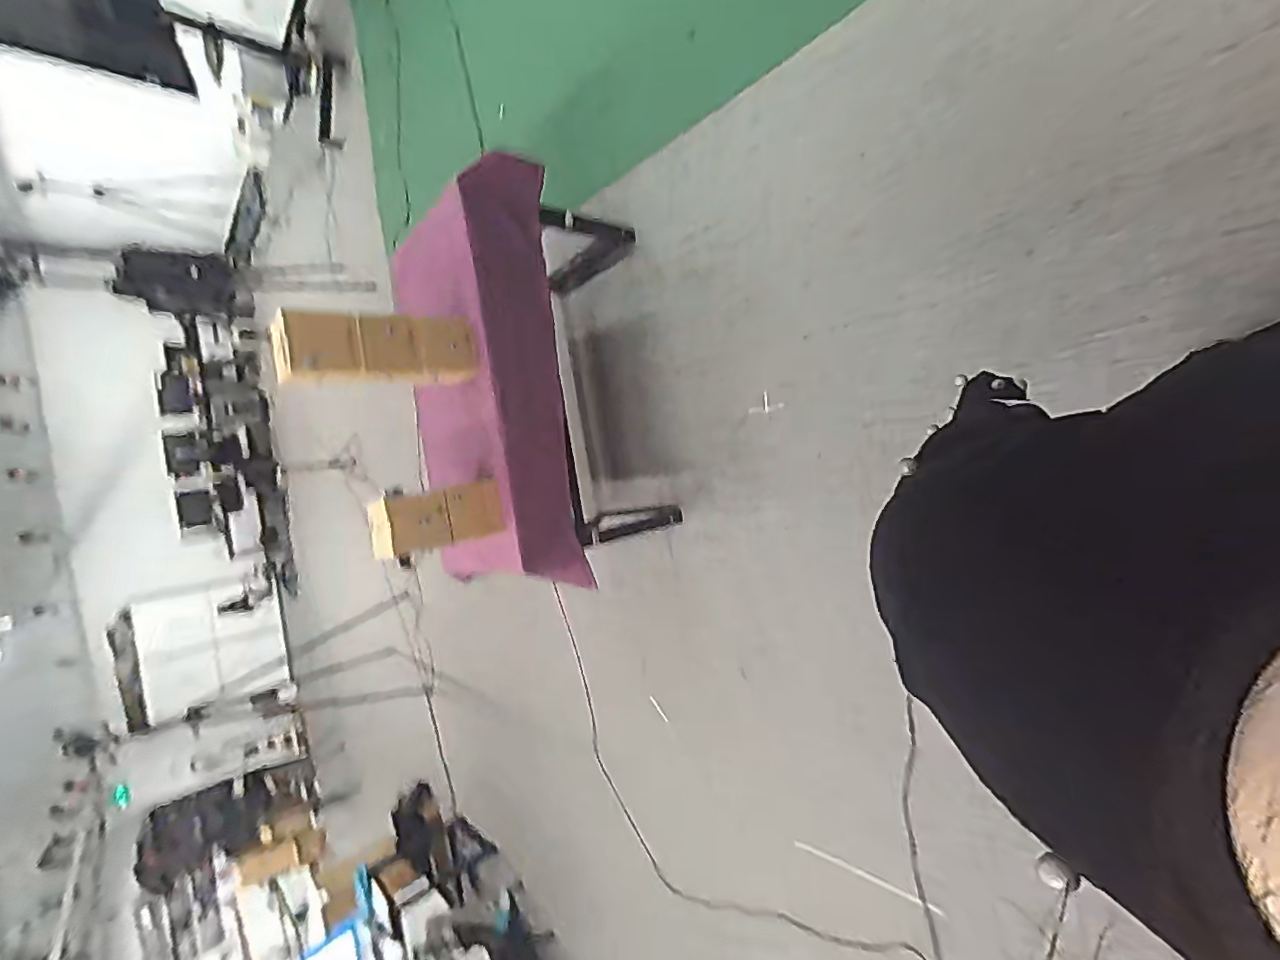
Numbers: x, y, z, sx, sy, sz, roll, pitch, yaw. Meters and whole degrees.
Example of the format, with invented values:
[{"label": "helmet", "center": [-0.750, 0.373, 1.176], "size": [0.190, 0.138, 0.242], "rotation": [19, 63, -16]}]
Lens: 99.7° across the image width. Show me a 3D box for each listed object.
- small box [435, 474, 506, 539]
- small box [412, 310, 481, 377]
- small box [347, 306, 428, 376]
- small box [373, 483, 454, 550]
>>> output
[{"label": "small box", "center": [-0.532, 0.083, 1.683], "size": [0.168, 0.176, 0.179], "rotation": [-11, 88, 48]}, {"label": "small box", "center": [-0.601, -0.416, 1.671], "size": [0.179, 0.176, 0.168], "rotation": [-6, 92, 48]}, {"label": "small box", "center": [-0.724, -0.397, 1.565], "size": [0.179, 0.176, 0.168], "rotation": [-3, 94, 48]}, {"label": "small box", "center": [-0.655, 0.106, 1.575], "size": [0.179, 0.176, 0.168], "rotation": [-11, 87, 48]}]
